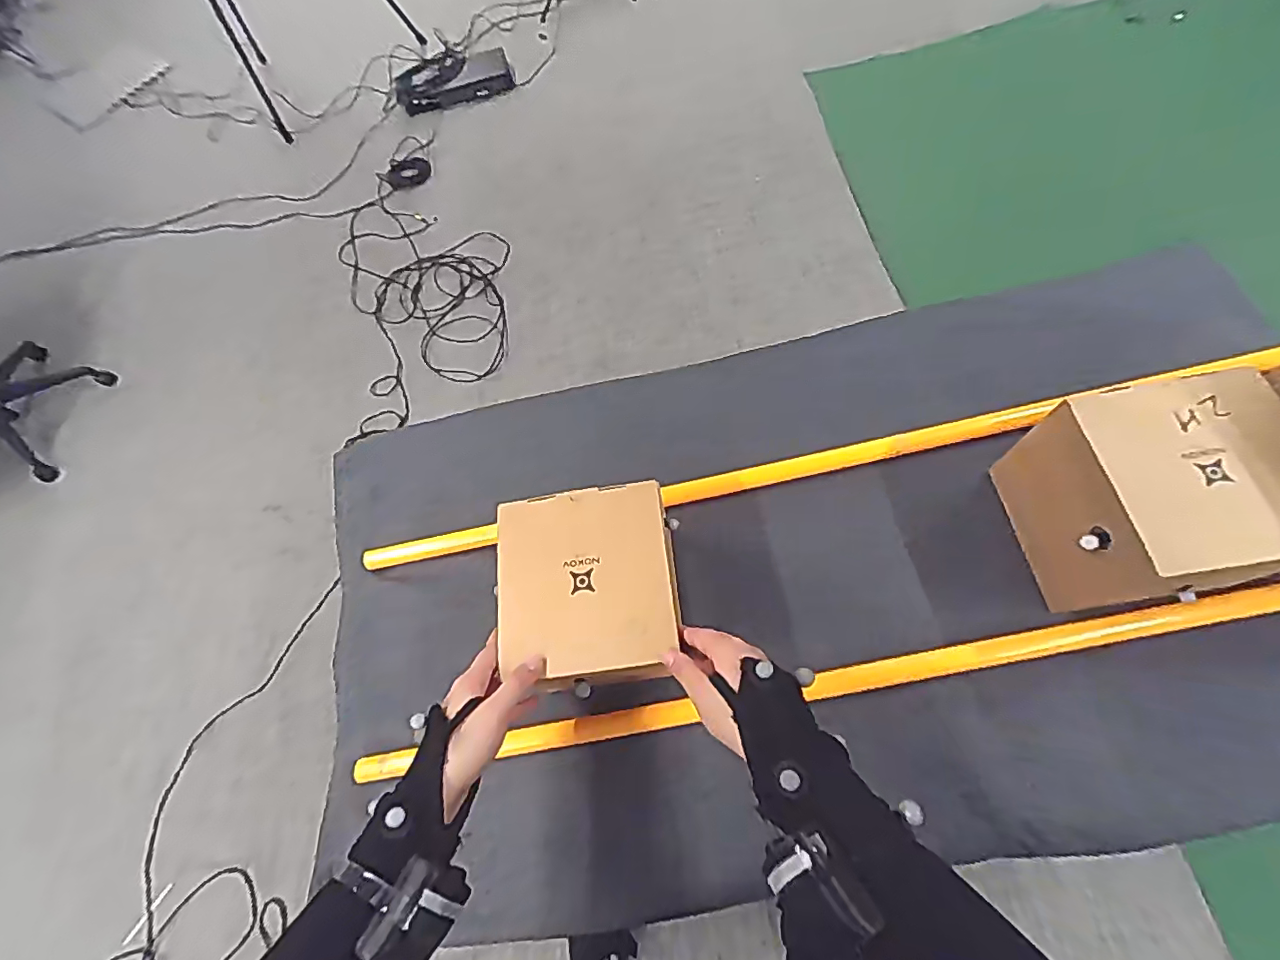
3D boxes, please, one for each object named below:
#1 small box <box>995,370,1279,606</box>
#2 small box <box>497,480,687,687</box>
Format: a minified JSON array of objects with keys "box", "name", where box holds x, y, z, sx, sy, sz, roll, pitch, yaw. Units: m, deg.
[{"box":[0.495,0.022,0.533,0.168,0.176,0.179,-10,66,7],"name":"small box"},{"box":[-0.044,0.121,0.579,0.168,0.176,0.179,-9,65,4],"name":"small box"}]
